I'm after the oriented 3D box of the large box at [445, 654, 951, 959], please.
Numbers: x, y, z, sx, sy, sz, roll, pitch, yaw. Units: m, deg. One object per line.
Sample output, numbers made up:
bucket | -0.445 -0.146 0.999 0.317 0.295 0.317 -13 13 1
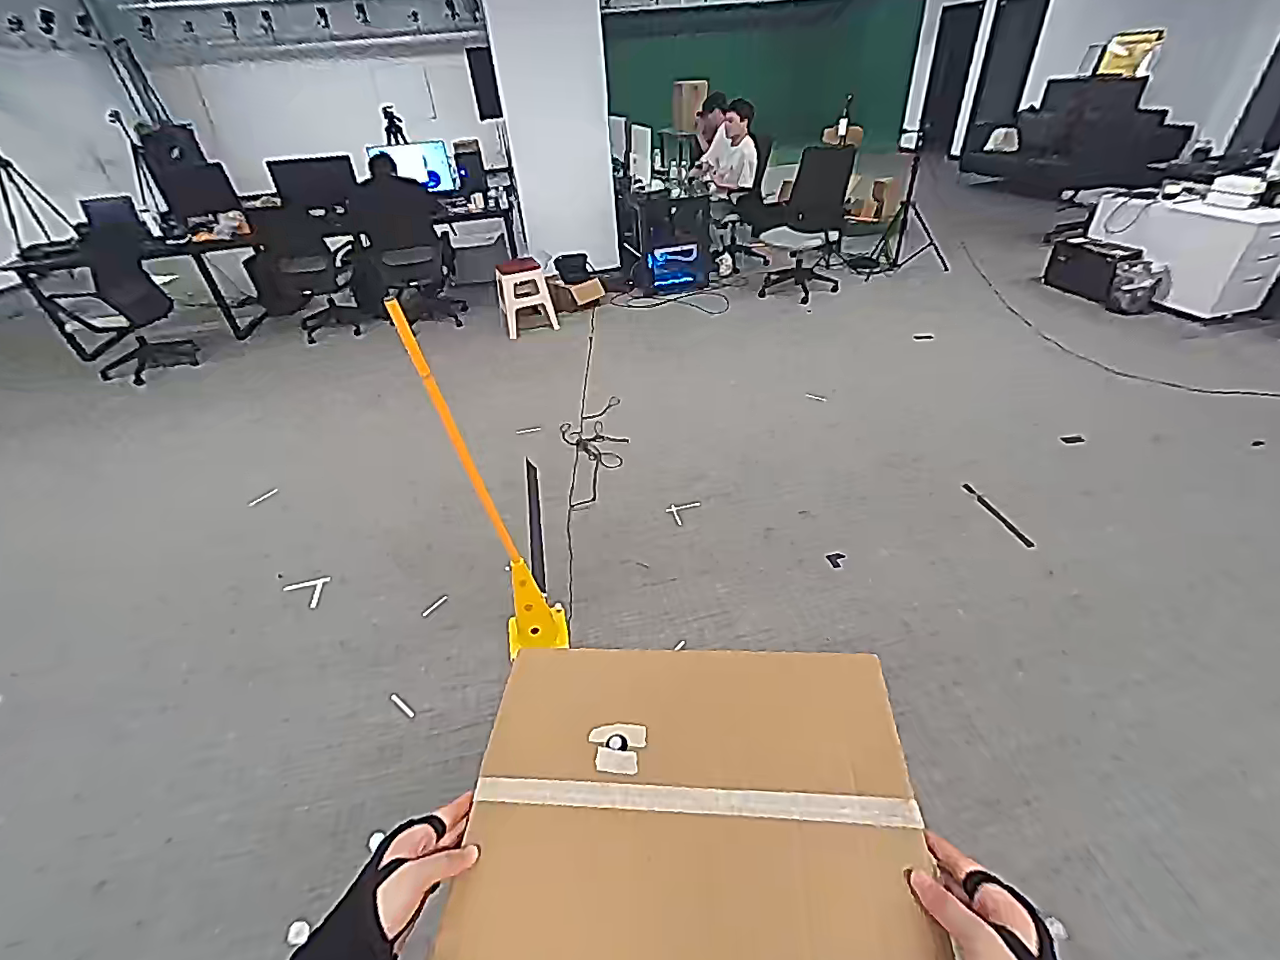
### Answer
large box | 0.067 0.415 0.602 0.408 0.320 0.320 -3 40 10
